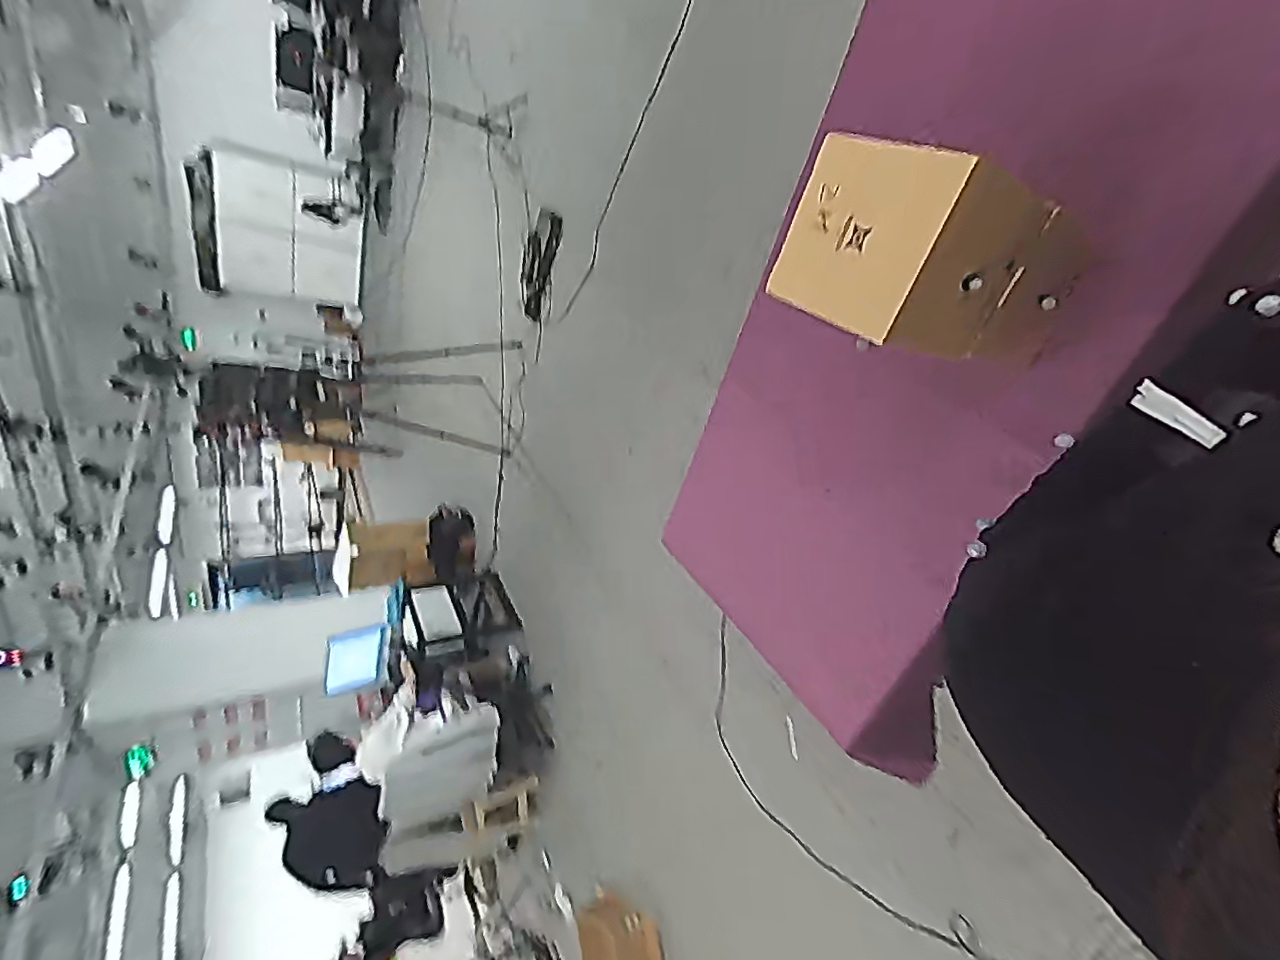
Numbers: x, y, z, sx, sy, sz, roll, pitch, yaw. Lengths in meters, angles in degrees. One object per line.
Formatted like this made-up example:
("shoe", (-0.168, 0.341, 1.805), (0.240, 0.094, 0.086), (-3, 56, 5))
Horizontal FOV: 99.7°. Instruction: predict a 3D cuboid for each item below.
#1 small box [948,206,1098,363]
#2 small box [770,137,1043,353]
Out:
("small box", (0.421, -0.257, 0.685), (0.179, 0.176, 0.168), (47, 128, 41))
("small box", (0.285, -0.247, 0.590), (0.179, 0.176, 0.168), (48, 129, 42))
